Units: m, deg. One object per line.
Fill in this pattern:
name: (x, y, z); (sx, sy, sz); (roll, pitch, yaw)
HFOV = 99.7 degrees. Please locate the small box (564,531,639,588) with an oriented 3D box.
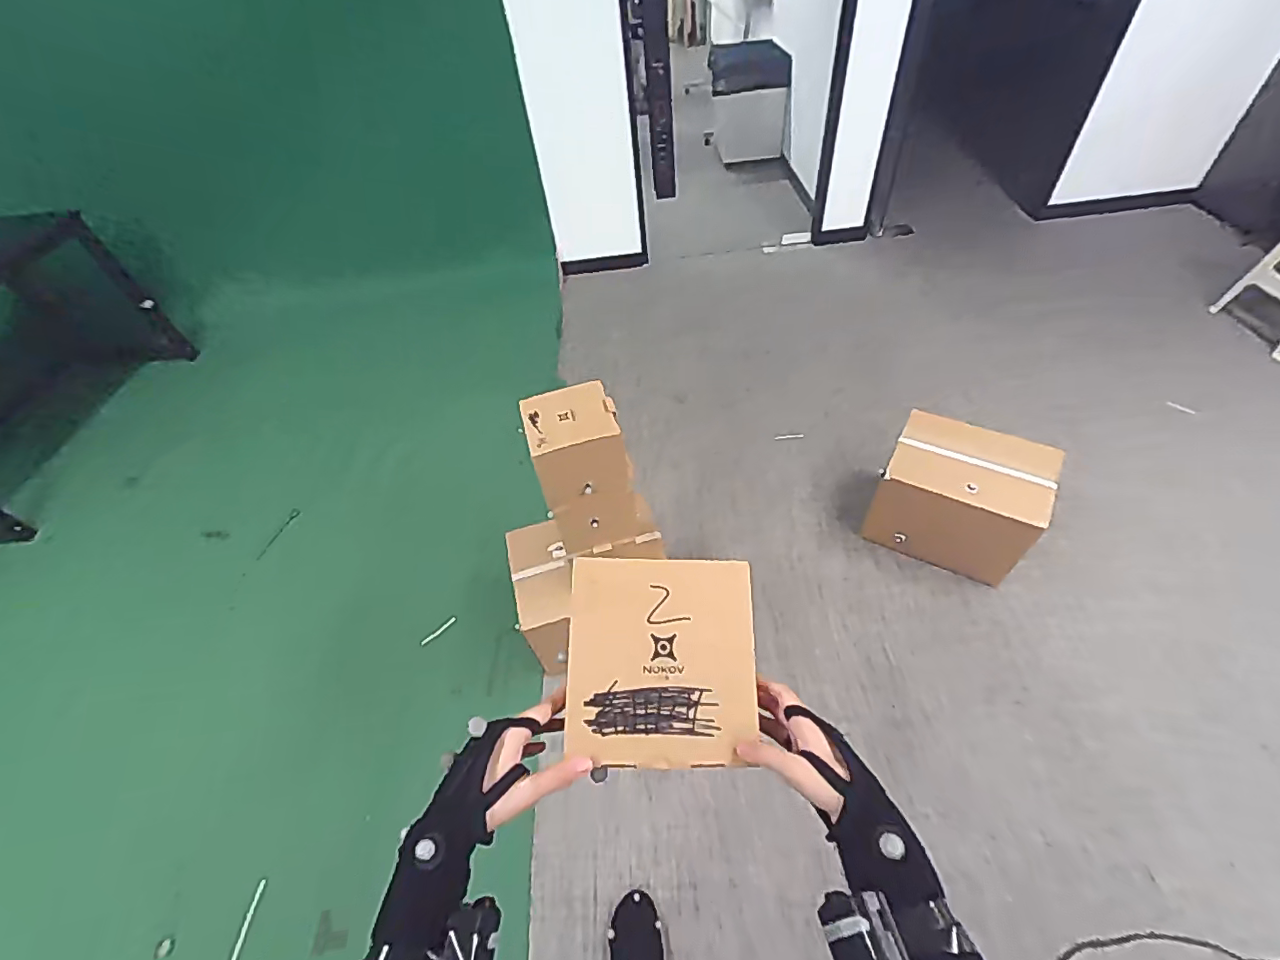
small box: (-0.104, 0.151, 1.352); (0.168, 0.176, 0.179); (-15, 49, -7)

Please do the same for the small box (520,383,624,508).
small box: (-0.134, -0.068, 1.110); (0.179, 0.176, 0.168); (-15, 49, -8)

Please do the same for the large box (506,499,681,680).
large box: (-0.125, 0.313, 1.539); (0.408, 0.320, 0.320); (-17, 48, -6)

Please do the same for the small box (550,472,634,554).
small box: (-0.117, 0.041, 1.232); (0.179, 0.176, 0.168); (-16, 49, -7)
